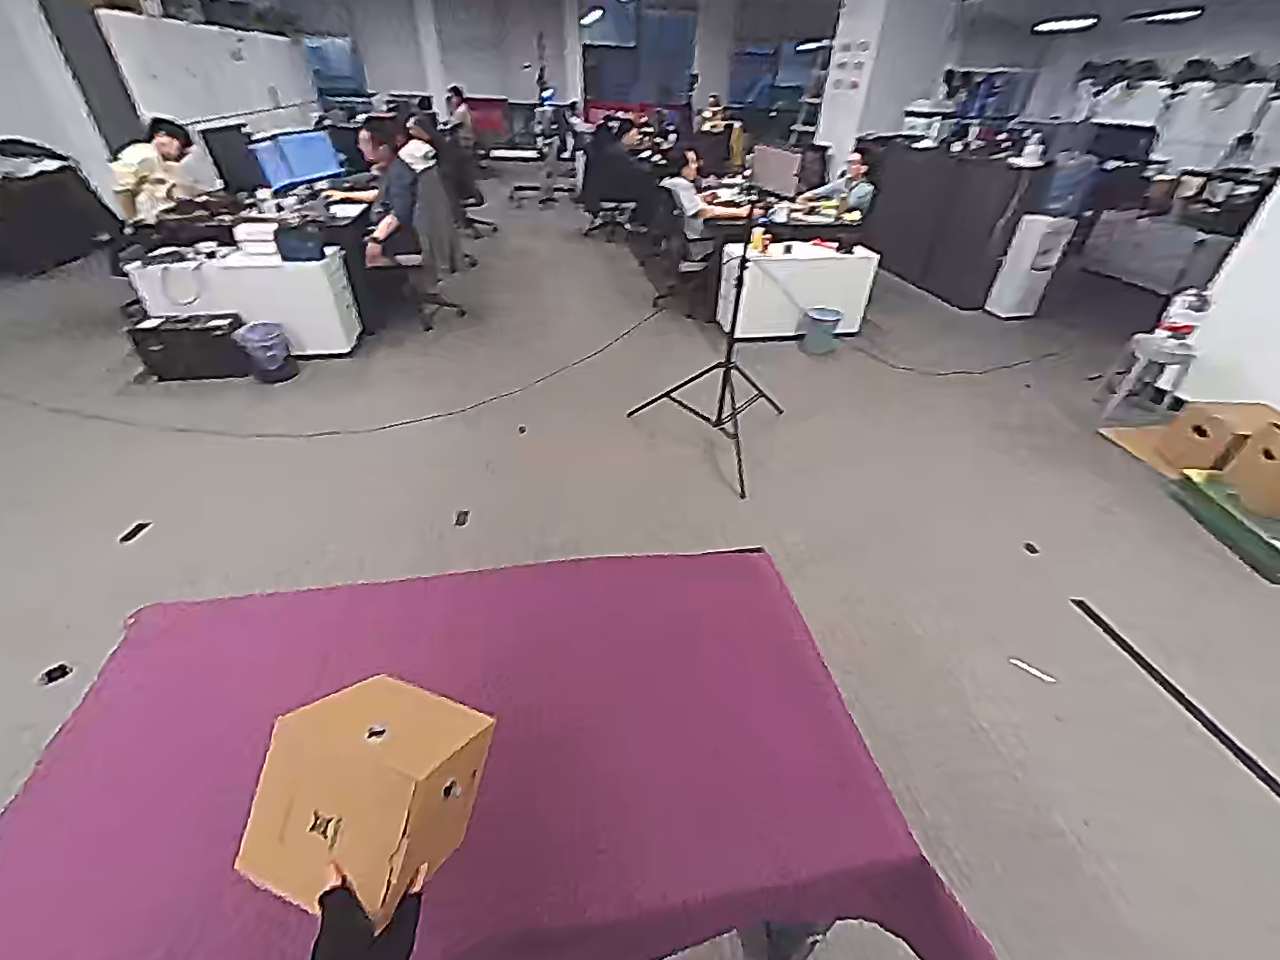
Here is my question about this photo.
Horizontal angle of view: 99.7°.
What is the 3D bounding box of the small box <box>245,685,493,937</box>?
[{"bbox_3d":[-0.297,0.359,0.629,0.179,0.168,0.176,13,-3,13],"label":"small box"}]
